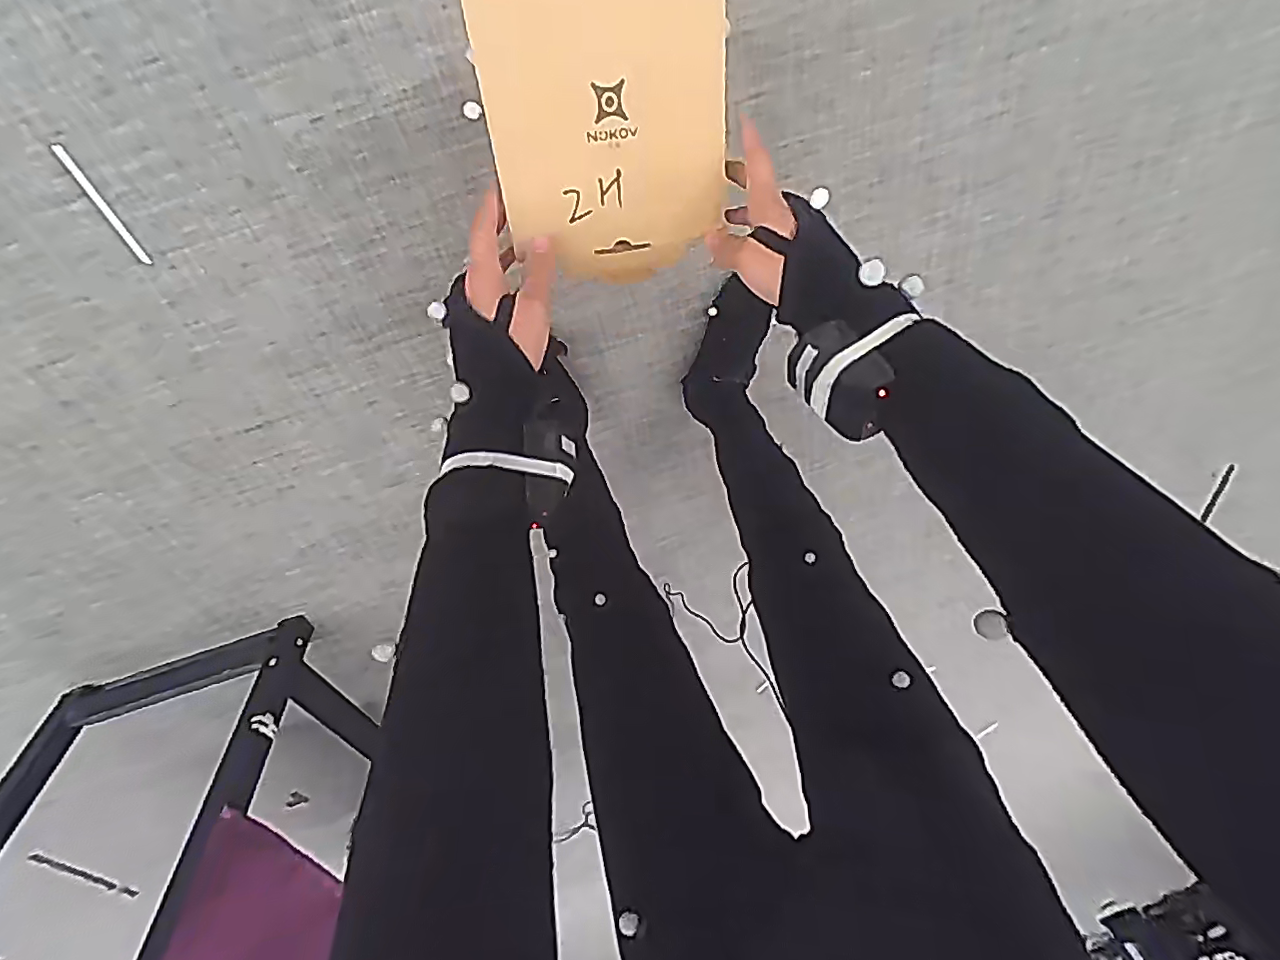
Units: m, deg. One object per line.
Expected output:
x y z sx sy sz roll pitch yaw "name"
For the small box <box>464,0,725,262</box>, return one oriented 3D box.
-0.038 -0.294 0.431 0.168 0.176 0.179 -10 128 -6 "small box"
